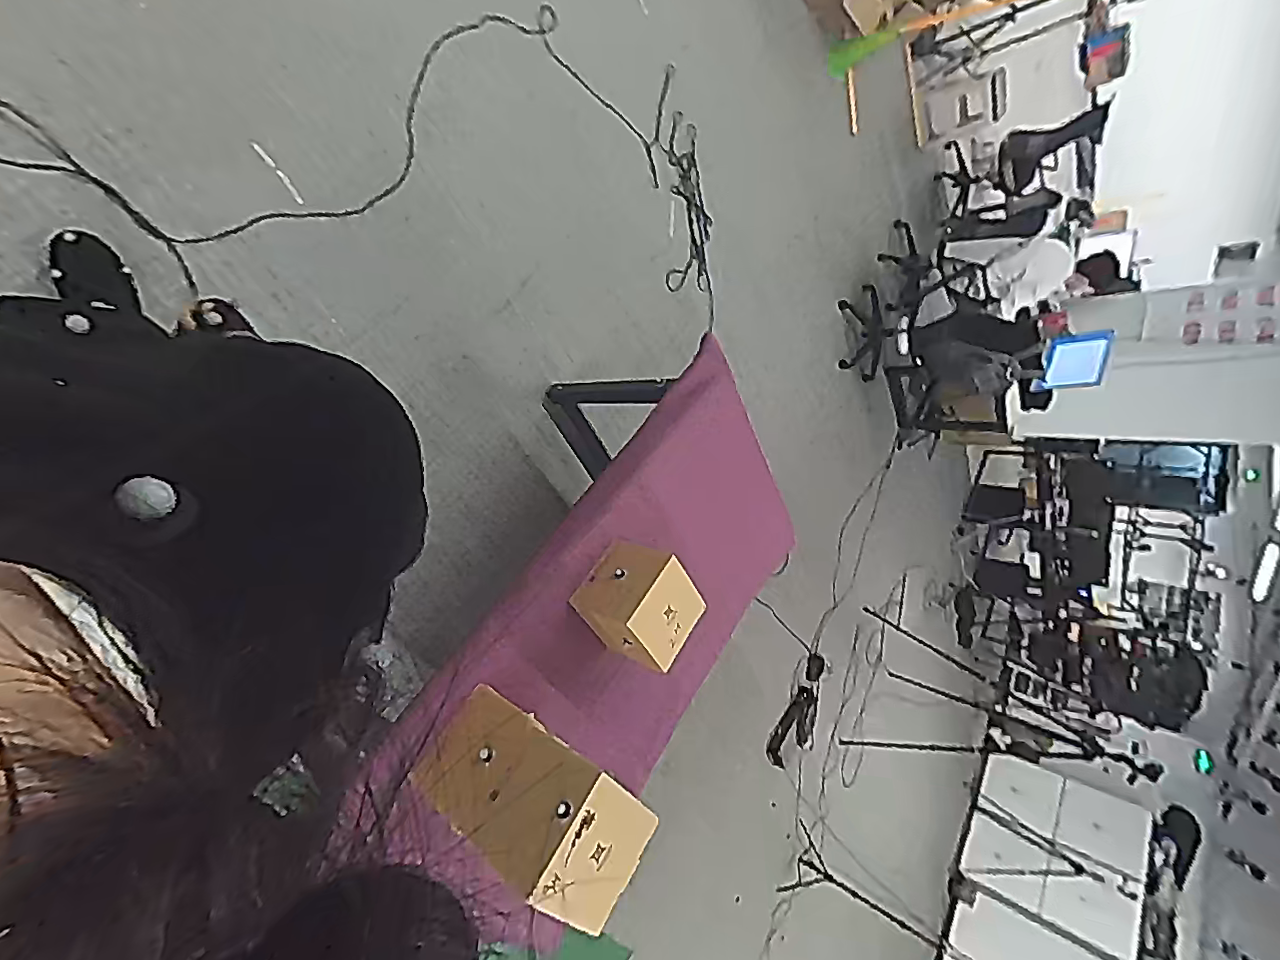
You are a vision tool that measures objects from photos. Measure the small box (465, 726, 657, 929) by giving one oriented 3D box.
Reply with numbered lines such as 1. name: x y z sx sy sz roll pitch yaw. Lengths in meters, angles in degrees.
1. small box: -0.112 0.489 0.781 0.168 0.176 0.179 -53 129 -28

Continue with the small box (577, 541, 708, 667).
1. small box: 0.004 0.240 1.091 0.168 0.176 0.179 -51 129 -27

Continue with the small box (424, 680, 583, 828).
1. small box: -0.228 0.469 0.896 0.179 0.176 0.168 -53 128 -27
